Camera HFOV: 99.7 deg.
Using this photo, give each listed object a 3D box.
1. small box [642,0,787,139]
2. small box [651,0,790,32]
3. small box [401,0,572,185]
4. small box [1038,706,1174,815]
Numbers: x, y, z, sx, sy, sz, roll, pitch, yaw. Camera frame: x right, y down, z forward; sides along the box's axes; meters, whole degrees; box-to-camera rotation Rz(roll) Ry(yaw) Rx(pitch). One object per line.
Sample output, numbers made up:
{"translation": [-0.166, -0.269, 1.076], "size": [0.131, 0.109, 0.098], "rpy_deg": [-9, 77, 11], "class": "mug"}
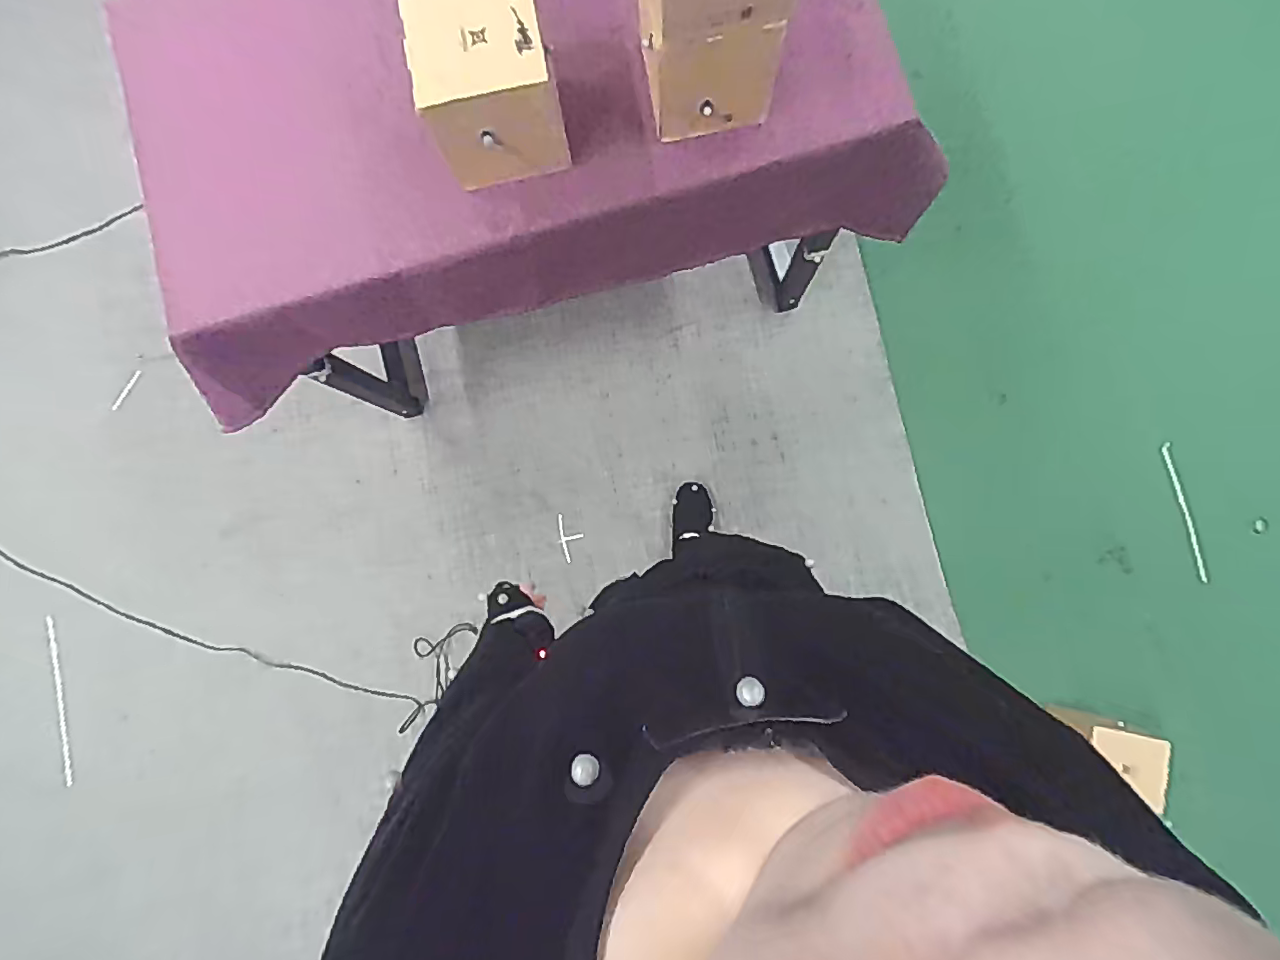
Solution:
{"translation": [0.094, -0.632, 0.764], "size": [0.168, 0.176, 0.179], "rpy_deg": [-10, 85, 2], "class": "small box"}
{"translation": [0.086, -0.647, 0.600], "size": [0.168, 0.176, 0.179], "rpy_deg": [-11, 84, 2], "class": "small box"}
{"translation": [-0.208, -0.557, 0.772], "size": [0.179, 0.176, 0.168], "rpy_deg": [-11, 84, 3], "class": "small box"}
{"translation": [1.122, 0.670, 1.313], "size": [0.179, 0.176, 0.168], "rpy_deg": [12, 85, 4], "class": "small box"}
